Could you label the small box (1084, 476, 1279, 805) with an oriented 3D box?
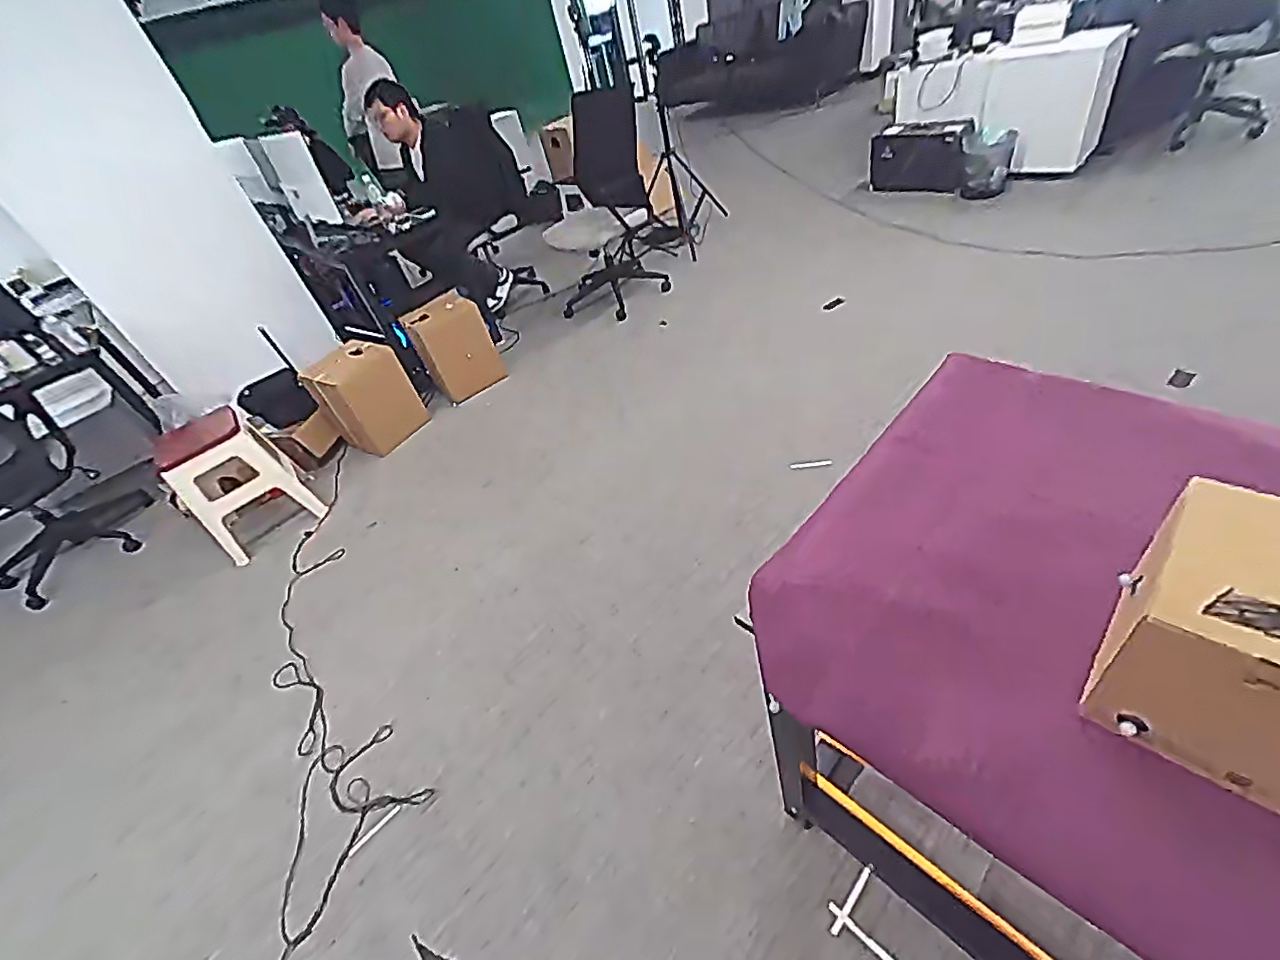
[{"bbox_3d":[0.504,0.132,0.444,0.168,0.176,0.179,25,55,37],"label":"small box"}]
